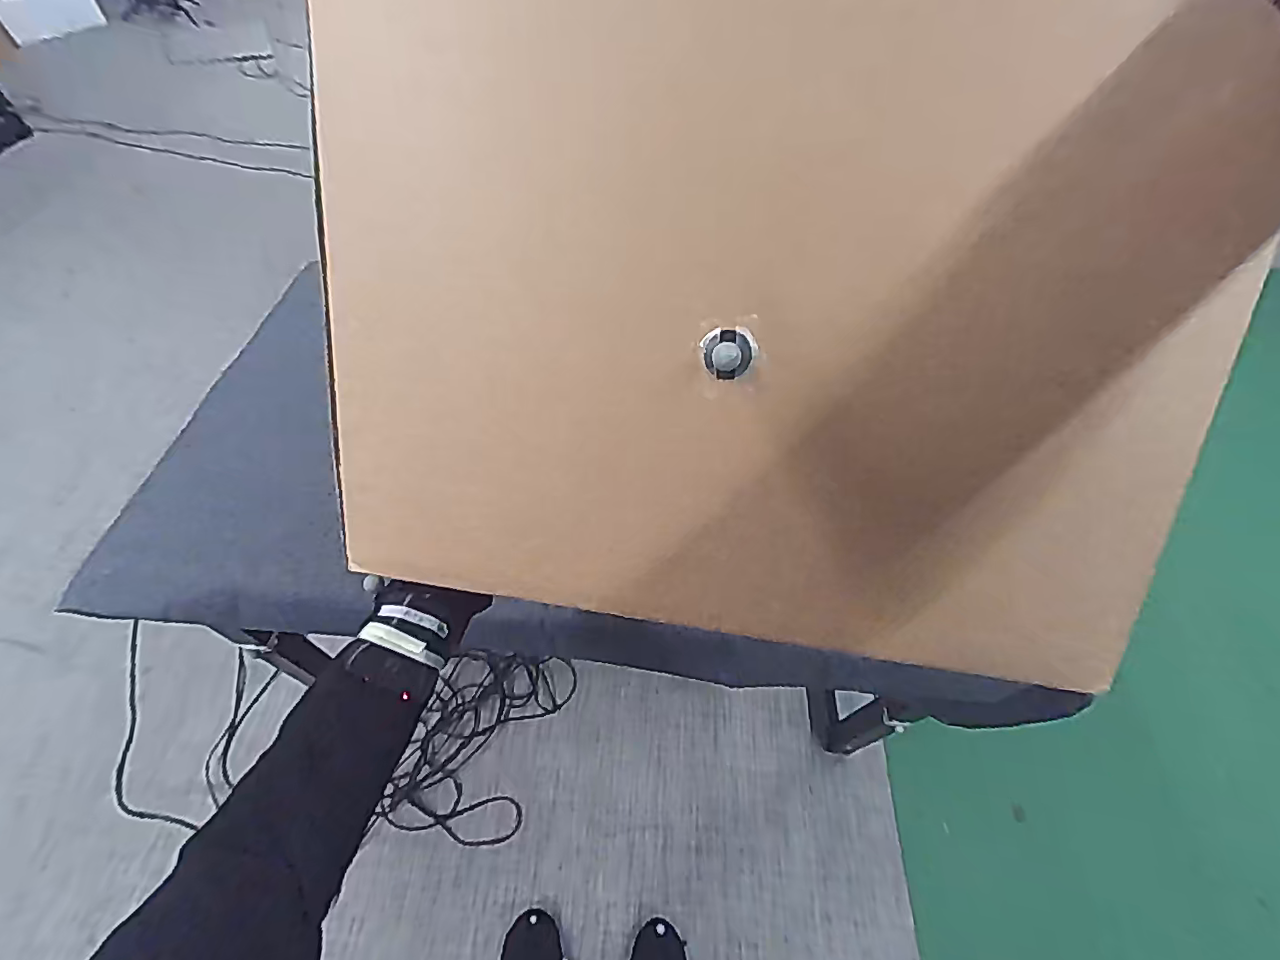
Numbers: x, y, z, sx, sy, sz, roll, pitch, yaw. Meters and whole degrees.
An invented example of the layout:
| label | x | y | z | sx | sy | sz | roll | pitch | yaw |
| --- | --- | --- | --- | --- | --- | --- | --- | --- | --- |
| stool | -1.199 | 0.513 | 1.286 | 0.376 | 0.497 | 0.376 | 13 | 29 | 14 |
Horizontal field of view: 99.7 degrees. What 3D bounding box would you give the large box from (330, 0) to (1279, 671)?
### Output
| label | x | y | z | sx | sy | sz | roll | pitch | yaw |
| --- | --- | --- | --- | --- | --- | --- | --- | --- | --- |
| large box | 0.068 | -0.097 | 0.403 | 0.408 | 0.320 | 0.320 | 6 | 15 | 7 |
